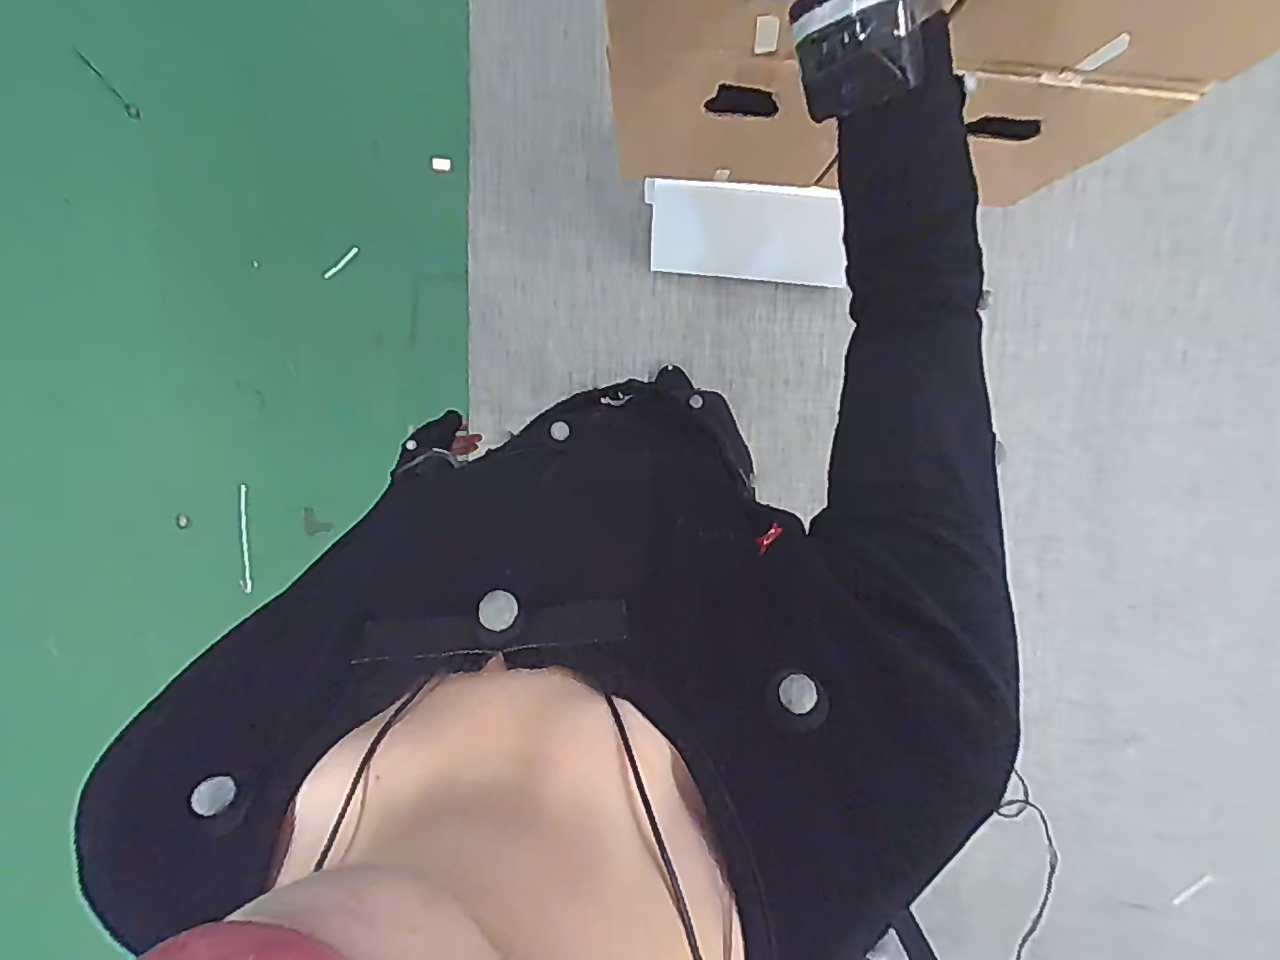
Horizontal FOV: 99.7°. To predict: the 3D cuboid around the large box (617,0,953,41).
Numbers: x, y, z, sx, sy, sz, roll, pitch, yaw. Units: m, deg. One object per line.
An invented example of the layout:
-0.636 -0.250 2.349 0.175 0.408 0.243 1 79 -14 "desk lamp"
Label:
0.125 -0.606 0.354 0.320 0.320 0.408 1 96 0 "large box"
